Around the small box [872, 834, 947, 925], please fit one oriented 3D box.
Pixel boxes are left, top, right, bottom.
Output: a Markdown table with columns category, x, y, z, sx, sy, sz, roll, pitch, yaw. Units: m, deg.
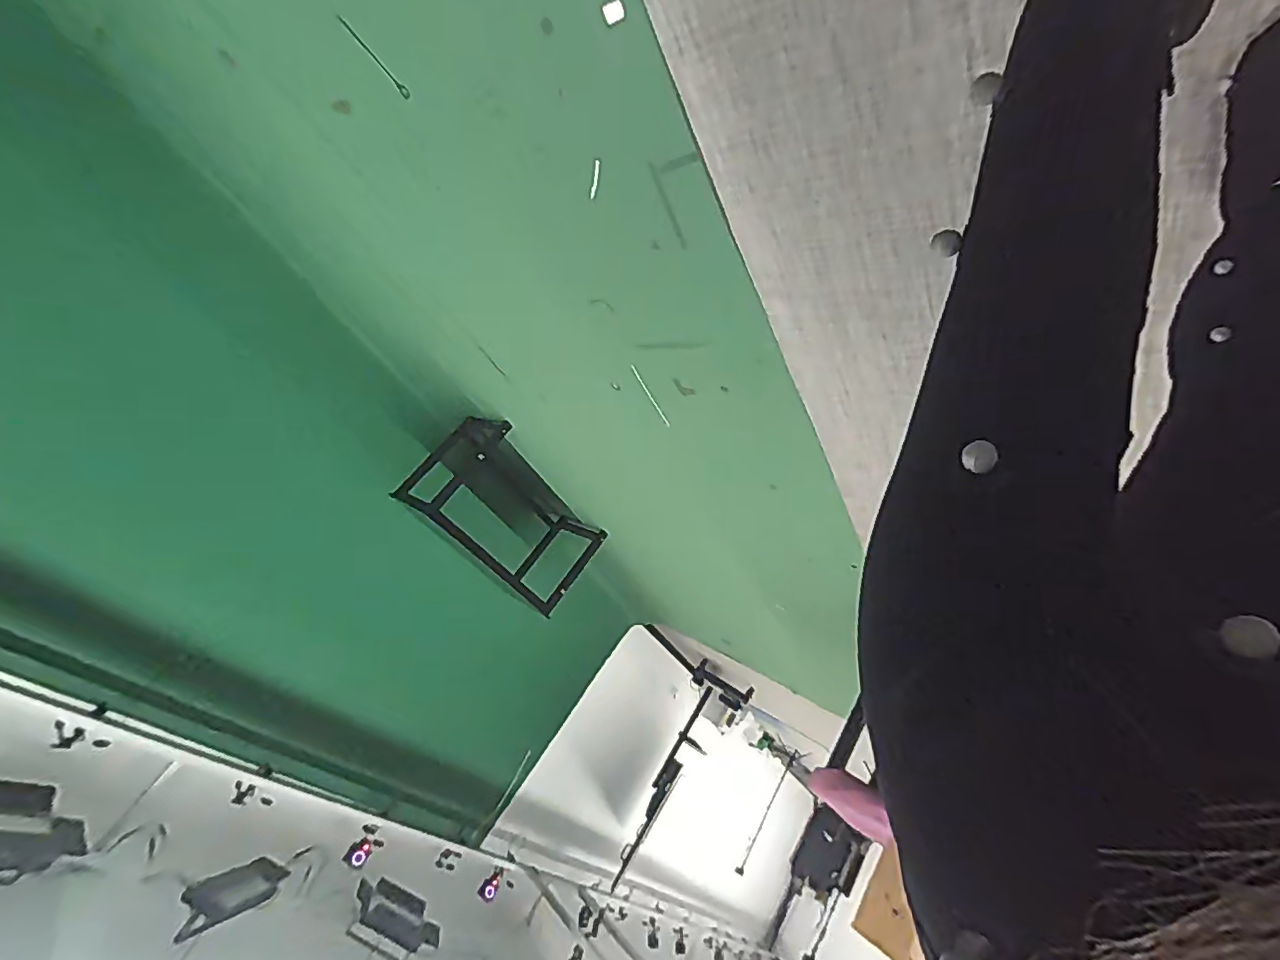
| category | x | y | z | sx | sy | sz | roll | pitch | yaw |
| --- | --- | --- | --- | --- | --- | --- | --- | --- | --- |
| small box | 0.901 | 1.322 | 1.796 | 0.168 | 0.176 | 0.179 | 14 | 149 | 45 |

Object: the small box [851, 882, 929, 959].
| category | x | y | z | sx | sy | sz | roll | pitch | yaw |
| --- | --- | --- | --- | --- | --- | --- | --- | --- | --- |
| small box | 0.811 | 1.446 | 1.743 | 0.168 | 0.176 | 0.179 | 14 | 149 | 46 |
